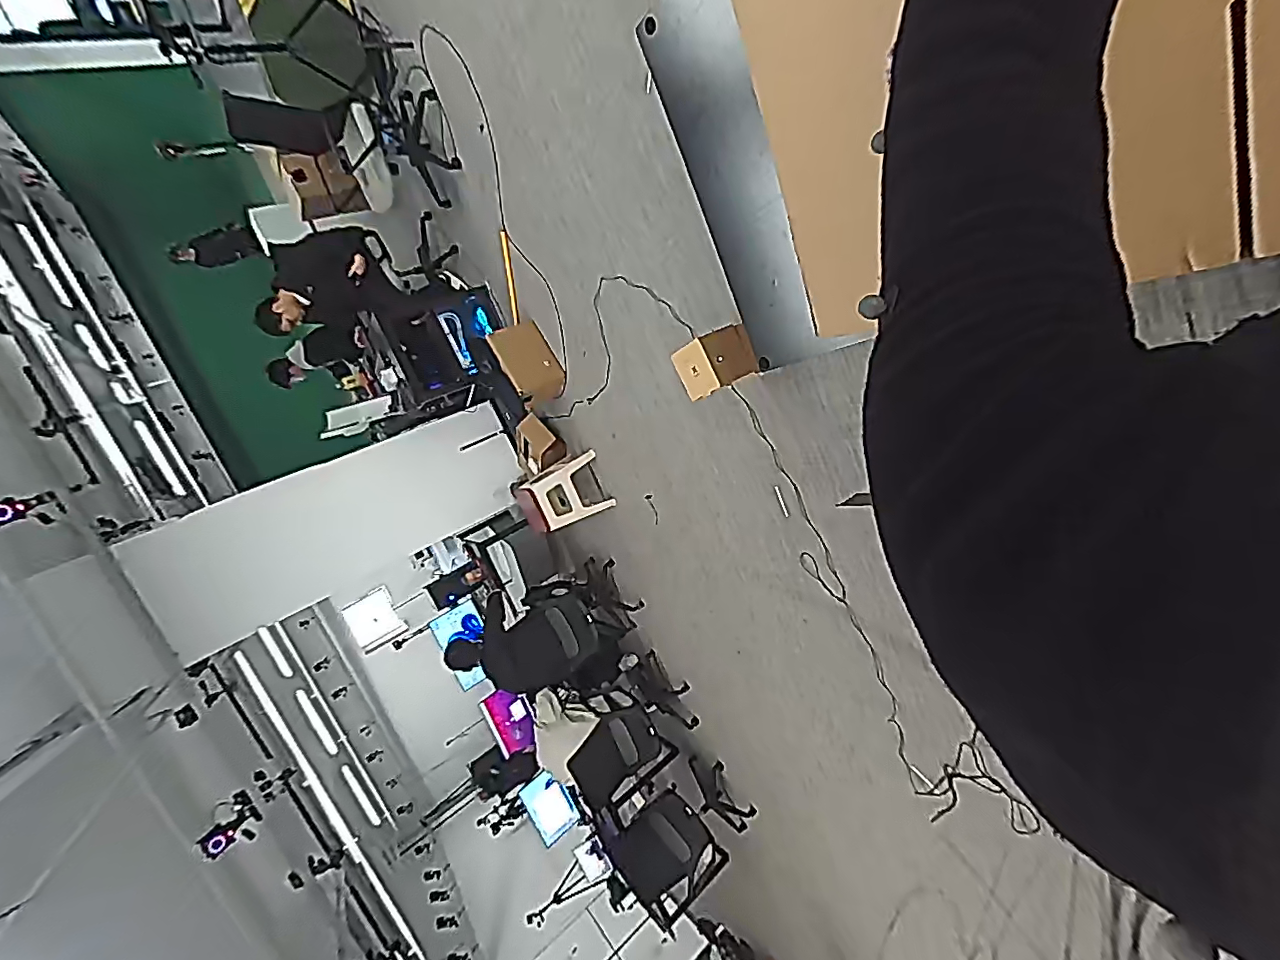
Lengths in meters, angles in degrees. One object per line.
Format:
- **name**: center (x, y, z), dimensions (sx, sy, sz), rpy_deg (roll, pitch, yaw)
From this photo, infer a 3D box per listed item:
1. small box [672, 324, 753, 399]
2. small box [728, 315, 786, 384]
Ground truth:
- **small box**: center (0.245, -0.396, 1.804), dimensions (0.168, 0.176, 0.179), rpy_deg (-18, 98, 60)
- **small box**: center (0.373, -0.458, 1.883), dimensions (0.168, 0.176, 0.179), rpy_deg (-13, 104, 60)
